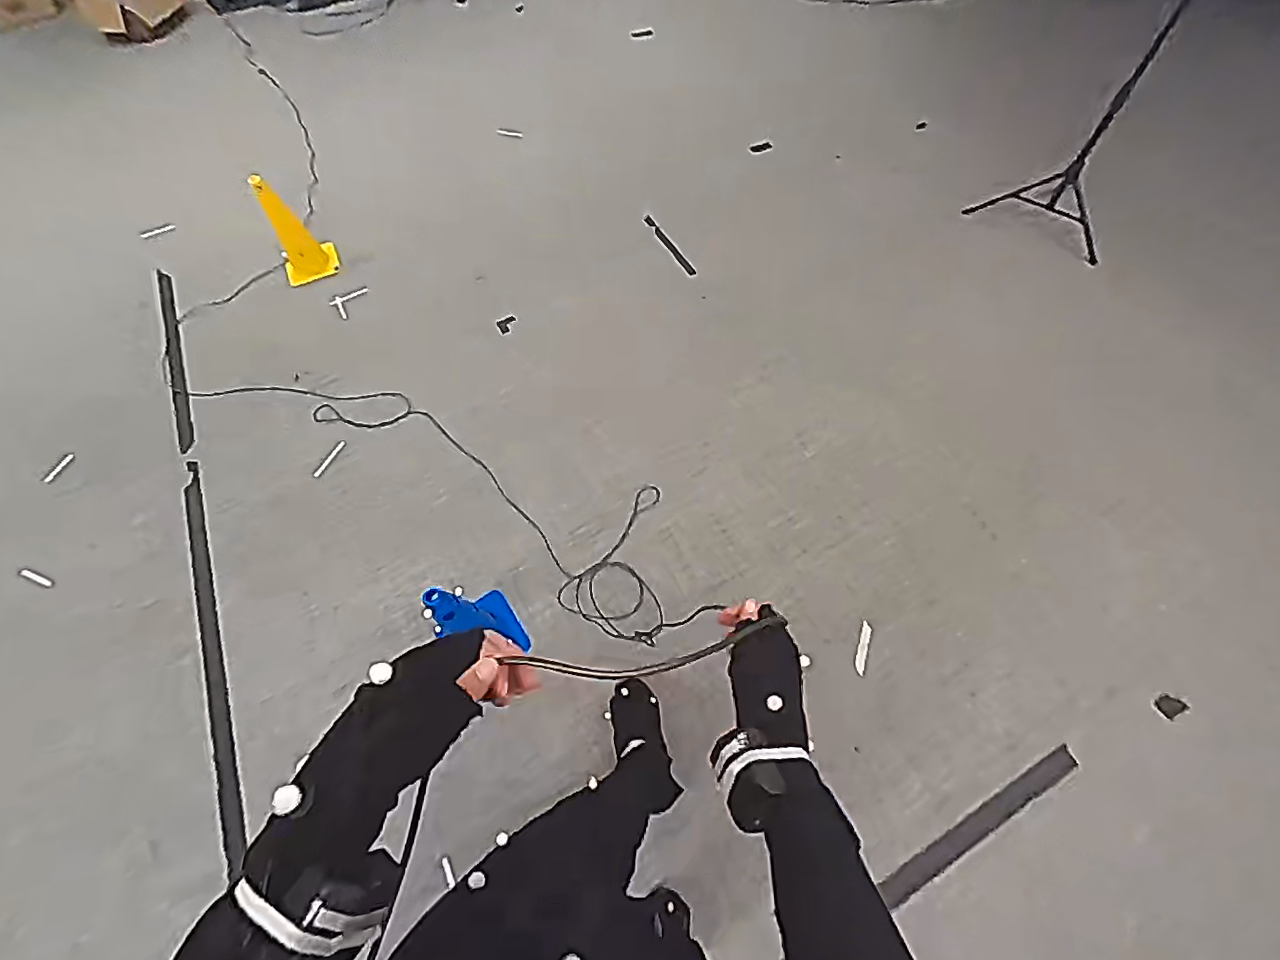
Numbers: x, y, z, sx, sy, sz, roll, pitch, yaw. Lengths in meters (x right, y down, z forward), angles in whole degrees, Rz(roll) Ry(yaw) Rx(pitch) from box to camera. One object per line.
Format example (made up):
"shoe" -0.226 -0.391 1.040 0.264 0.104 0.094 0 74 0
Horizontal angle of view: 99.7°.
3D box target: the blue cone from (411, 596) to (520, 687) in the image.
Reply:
"blue cone" -0.432 0.336 1.264 0.192 0.380 0.193 -31 64 -13
